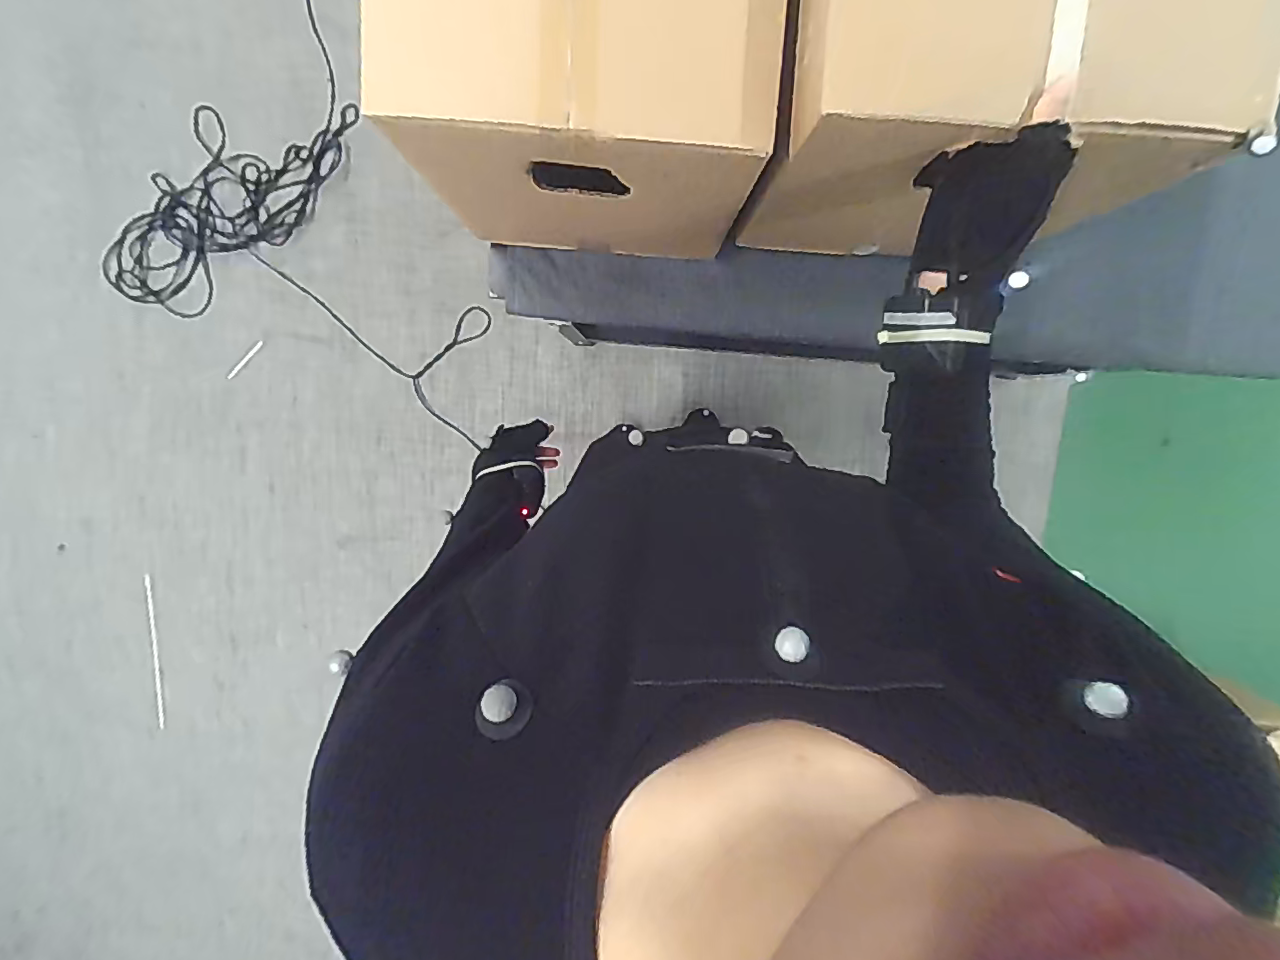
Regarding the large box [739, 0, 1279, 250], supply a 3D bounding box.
[{"bbox_3d":[0.279,-0.462,0.486,0.320,0.320,0.408,3,99,0],"label":"large box"}]
